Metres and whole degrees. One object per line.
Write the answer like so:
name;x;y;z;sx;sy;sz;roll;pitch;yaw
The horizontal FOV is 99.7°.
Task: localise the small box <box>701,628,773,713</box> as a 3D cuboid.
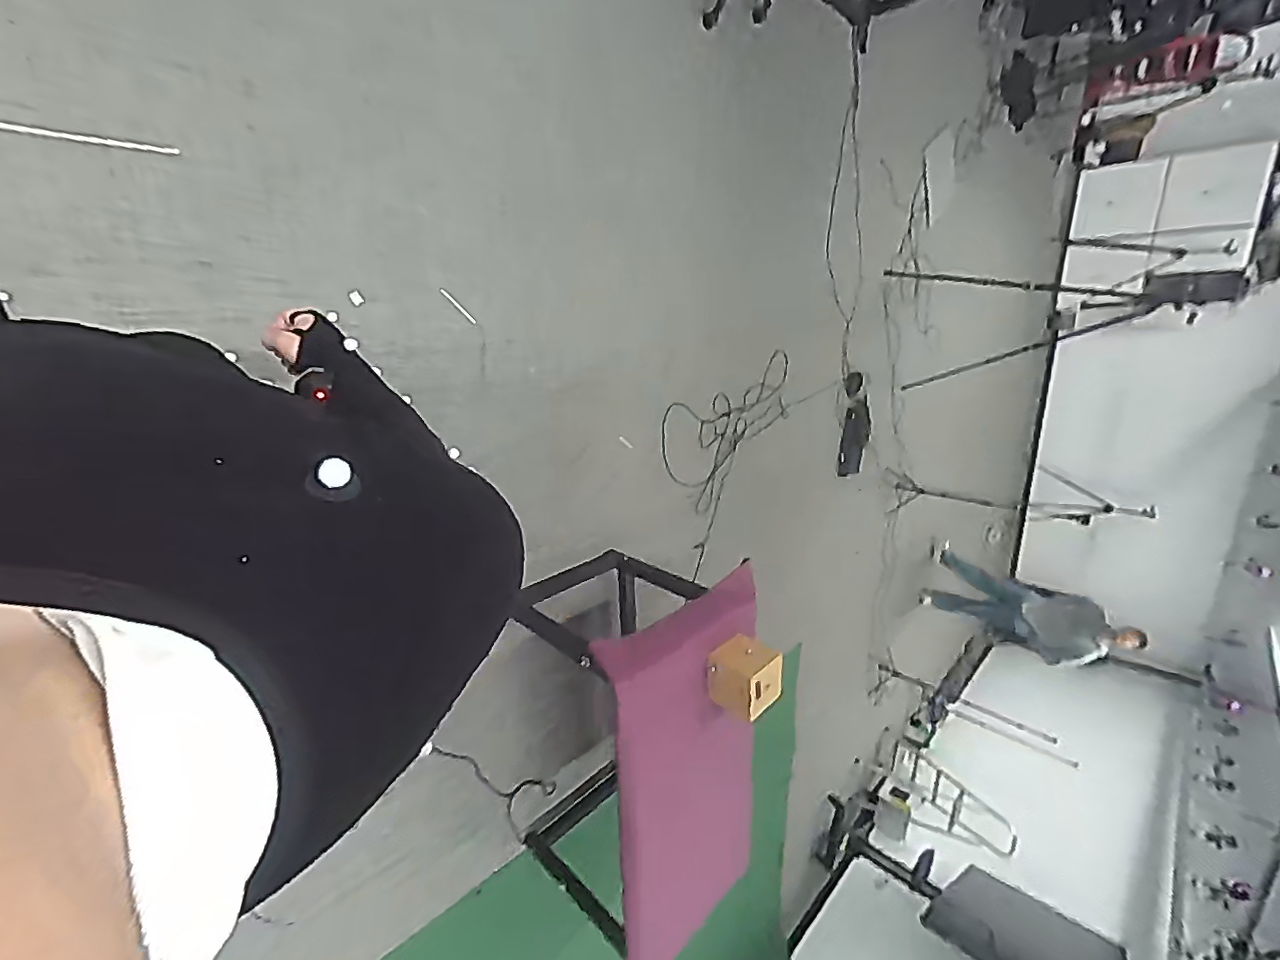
small box;0.309;0.605;1.739;0.179;0.176;0.168;-19;115;-42
